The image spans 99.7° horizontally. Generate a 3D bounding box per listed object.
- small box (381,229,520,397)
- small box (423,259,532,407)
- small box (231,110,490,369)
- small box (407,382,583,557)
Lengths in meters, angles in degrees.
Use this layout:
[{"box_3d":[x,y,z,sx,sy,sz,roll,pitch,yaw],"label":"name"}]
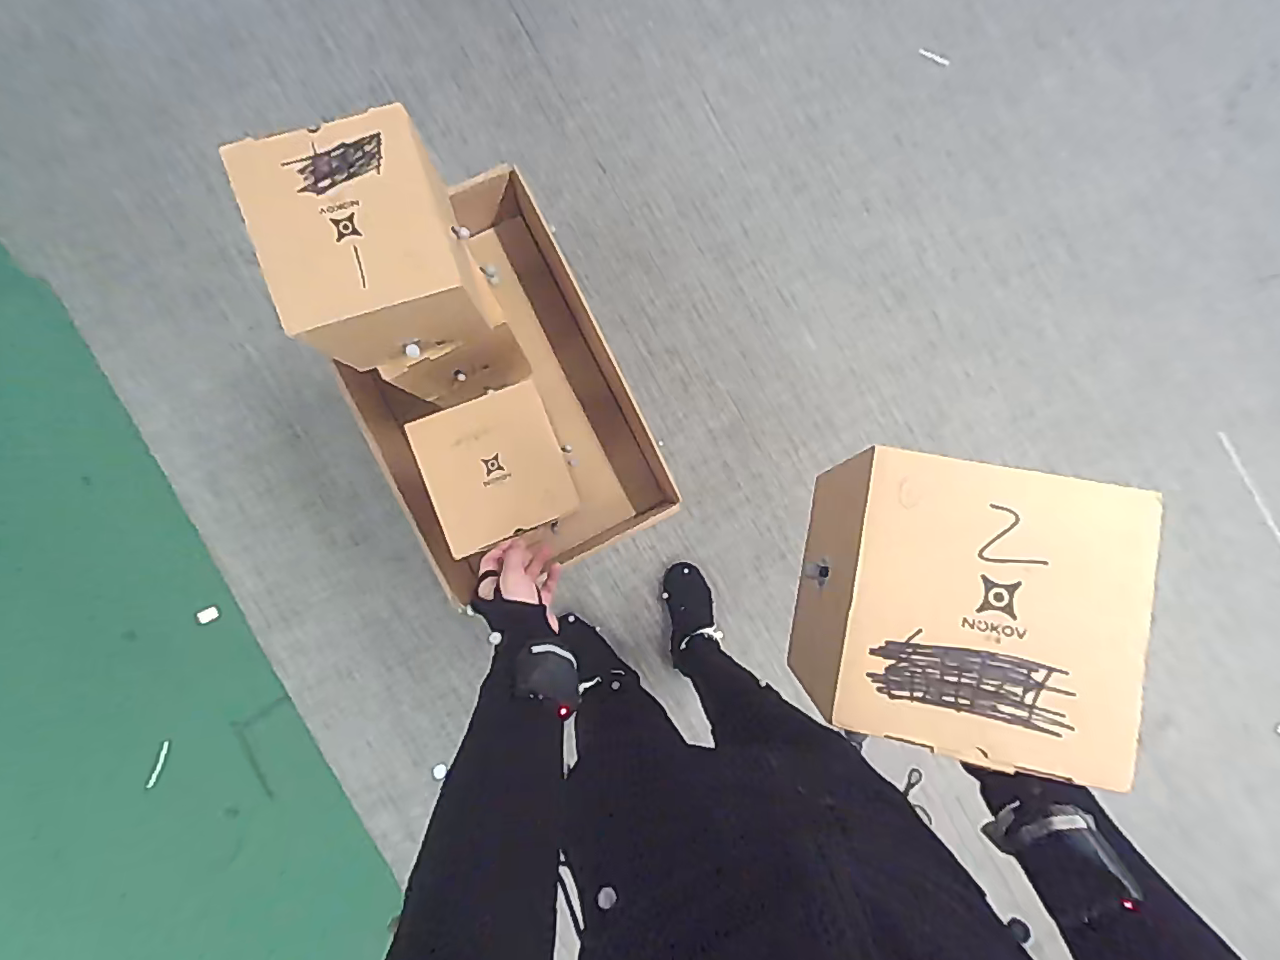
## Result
[{"box_3d":[-0.281,-0.233,0.738,0.168,0.176,0.179,-28,92,-5],"label":"small box"},{"box_3d":[-0.295,-0.234,0.899,0.168,0.176,0.179,-27,92,-4],"label":"small box"},{"box_3d":[-0.274,-0.237,0.574,0.168,0.176,0.179,-18,92,-5],"label":"small box"},{"box_3d":[-0.181,-0.010,0.734,0.168,0.176,0.179,-21,88,-5],"label":"small box"}]
